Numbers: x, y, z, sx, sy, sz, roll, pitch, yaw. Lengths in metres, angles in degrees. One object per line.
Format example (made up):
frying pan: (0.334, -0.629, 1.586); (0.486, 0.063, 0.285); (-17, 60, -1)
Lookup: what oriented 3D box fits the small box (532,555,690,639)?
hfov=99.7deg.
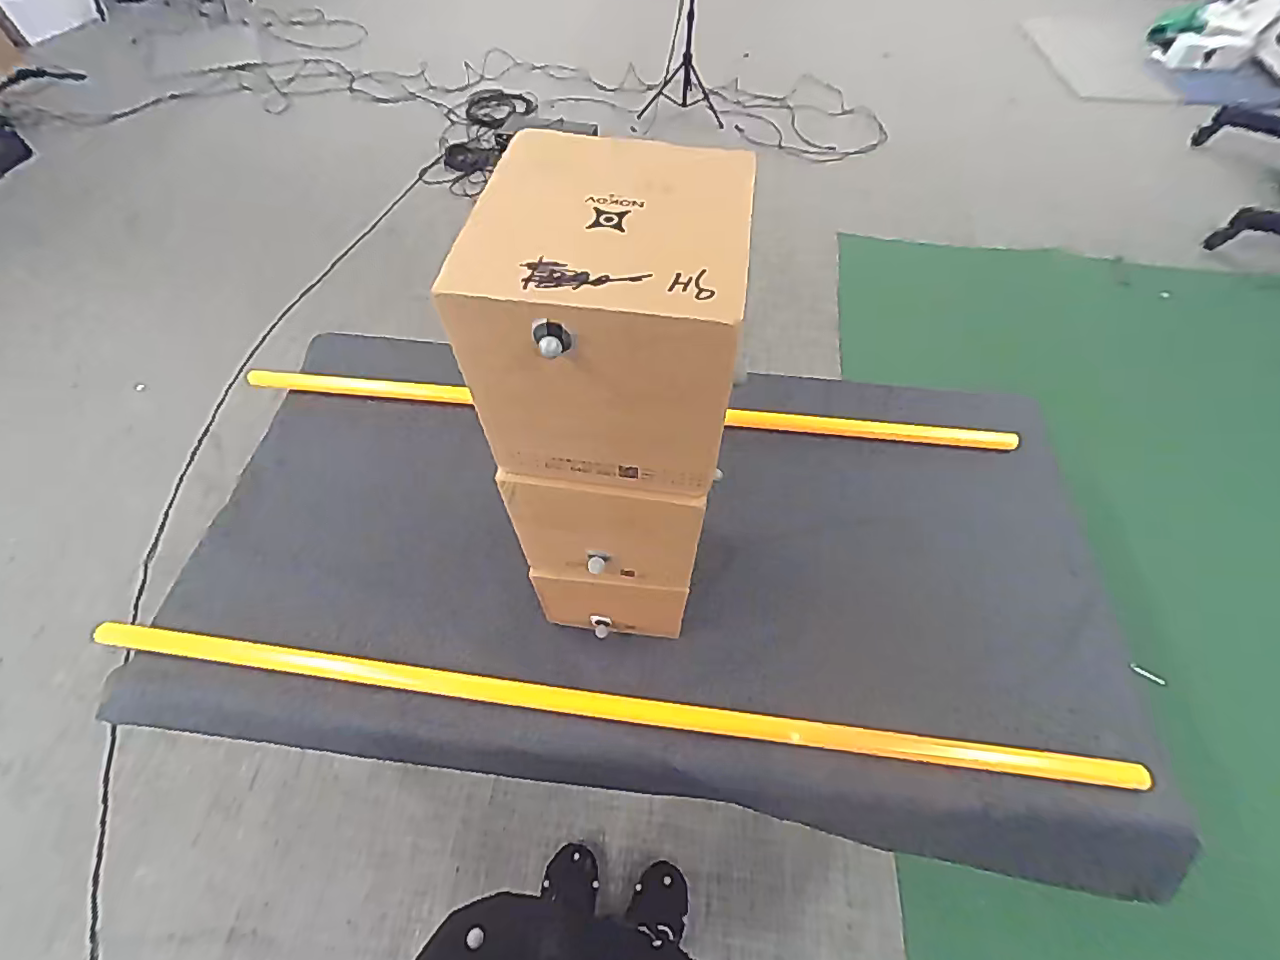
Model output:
small box: (-0.023, 0.079, 0.663); (0.168, 0.176, 0.179); (5, 58, 3)

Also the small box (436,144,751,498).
small box: (-0.018, -0.112, 0.395); (0.168, 0.176, 0.179); (7, 56, 6)

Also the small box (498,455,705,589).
small box: (-0.020, -0.015, 0.528); (0.168, 0.176, 0.179); (8, 58, 5)
